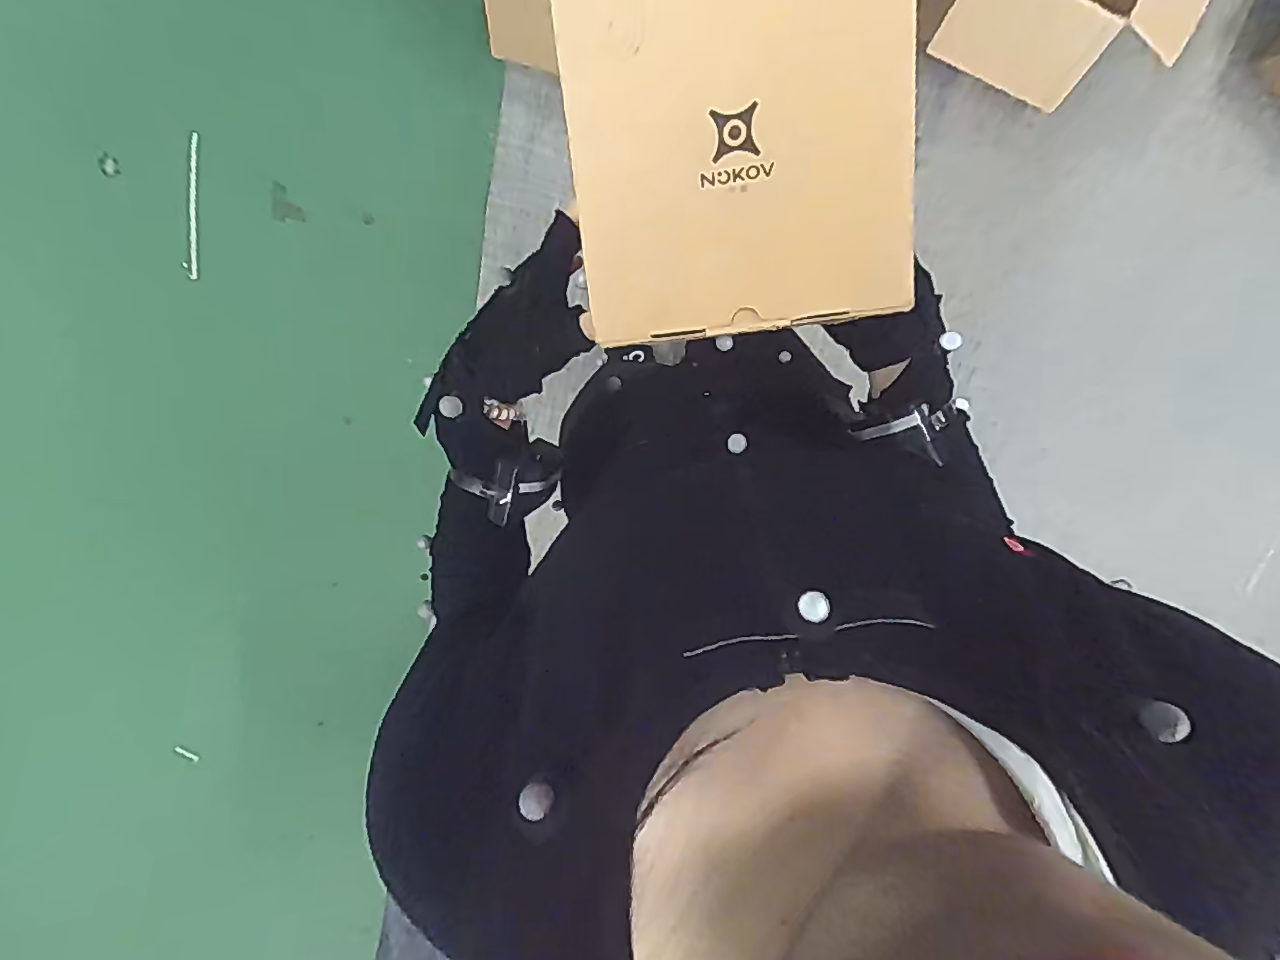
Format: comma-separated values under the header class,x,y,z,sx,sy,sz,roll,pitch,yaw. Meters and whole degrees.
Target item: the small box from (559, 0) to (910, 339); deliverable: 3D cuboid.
class,x,y,z,sx,sy,sz,roll,pitch,yaw
small box,0.059,-0.188,0.347,0.168,0.176,0.179,-4,105,10
